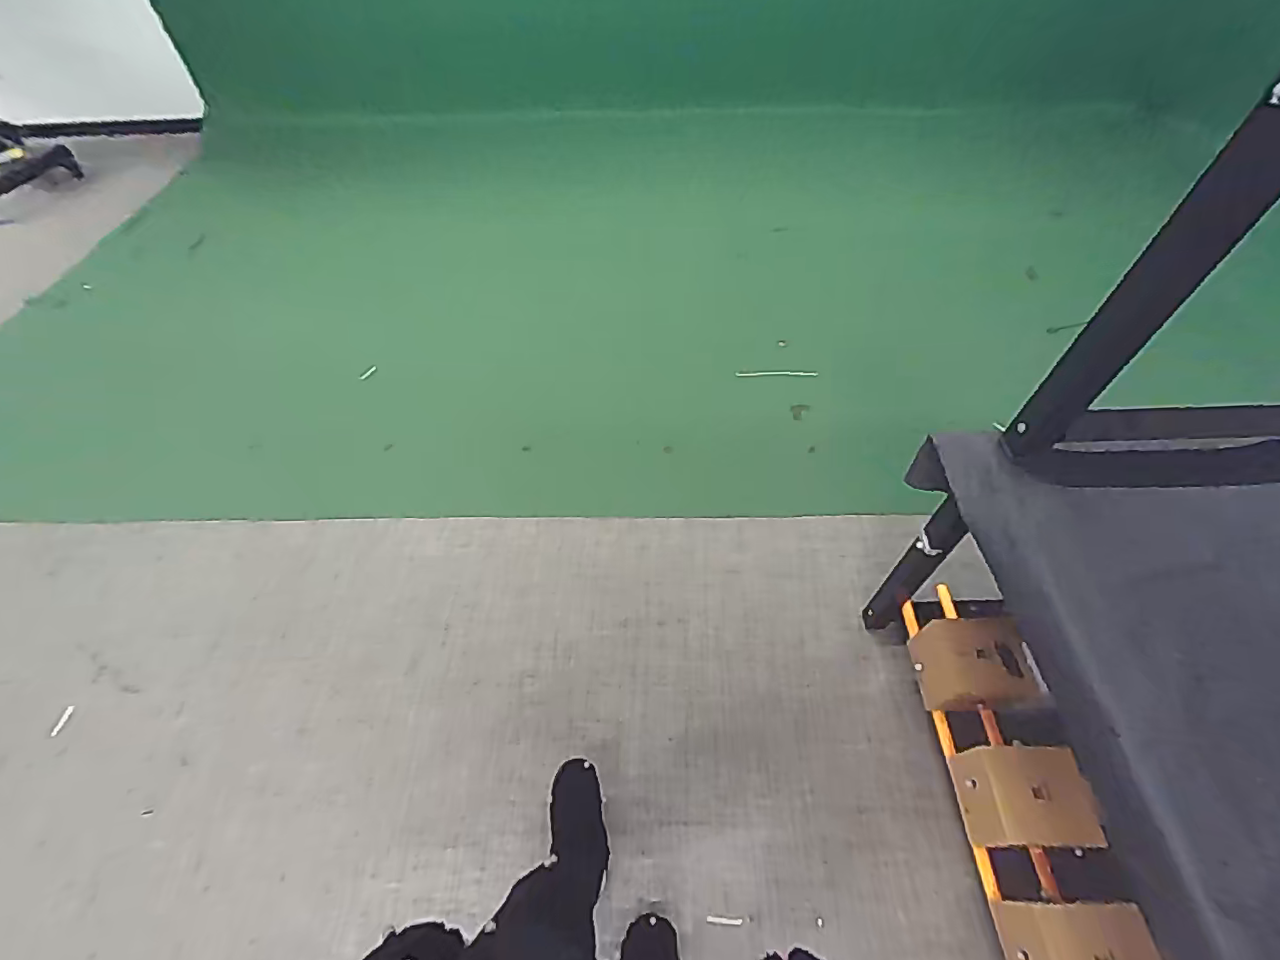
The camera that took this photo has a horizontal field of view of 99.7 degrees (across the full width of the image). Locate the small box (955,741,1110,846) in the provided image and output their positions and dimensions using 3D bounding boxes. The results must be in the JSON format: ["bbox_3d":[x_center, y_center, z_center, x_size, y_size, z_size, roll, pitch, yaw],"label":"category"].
[{"bbox_3d":[0.762,0.630,1.082,0.179,0.176,0.168,-1,55,3],"label":"small box"}]

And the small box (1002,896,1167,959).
[{"bbox_3d":[0.767,0.827,0.935,0.179,0.176,0.168,-1,54,2],"label":"small box"}]
